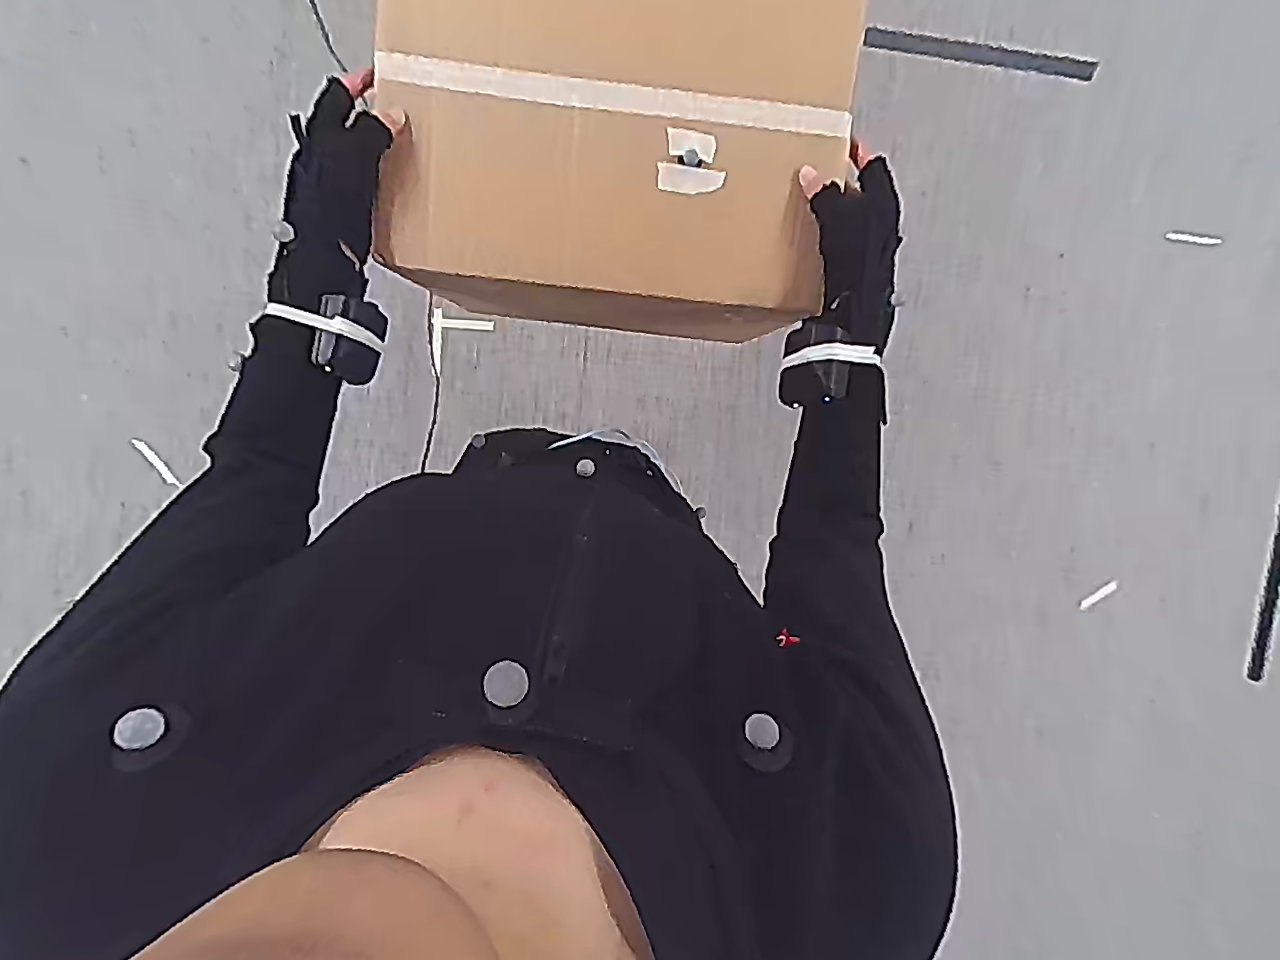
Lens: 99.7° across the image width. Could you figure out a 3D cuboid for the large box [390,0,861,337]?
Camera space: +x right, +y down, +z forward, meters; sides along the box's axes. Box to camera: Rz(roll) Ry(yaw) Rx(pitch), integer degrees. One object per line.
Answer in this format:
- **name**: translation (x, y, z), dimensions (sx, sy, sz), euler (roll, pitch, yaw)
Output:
- **large box**: translation (-0.024, -0.353, 0.621), dimensions (0.408, 0.320, 0.320), euler (5, 100, -4)
